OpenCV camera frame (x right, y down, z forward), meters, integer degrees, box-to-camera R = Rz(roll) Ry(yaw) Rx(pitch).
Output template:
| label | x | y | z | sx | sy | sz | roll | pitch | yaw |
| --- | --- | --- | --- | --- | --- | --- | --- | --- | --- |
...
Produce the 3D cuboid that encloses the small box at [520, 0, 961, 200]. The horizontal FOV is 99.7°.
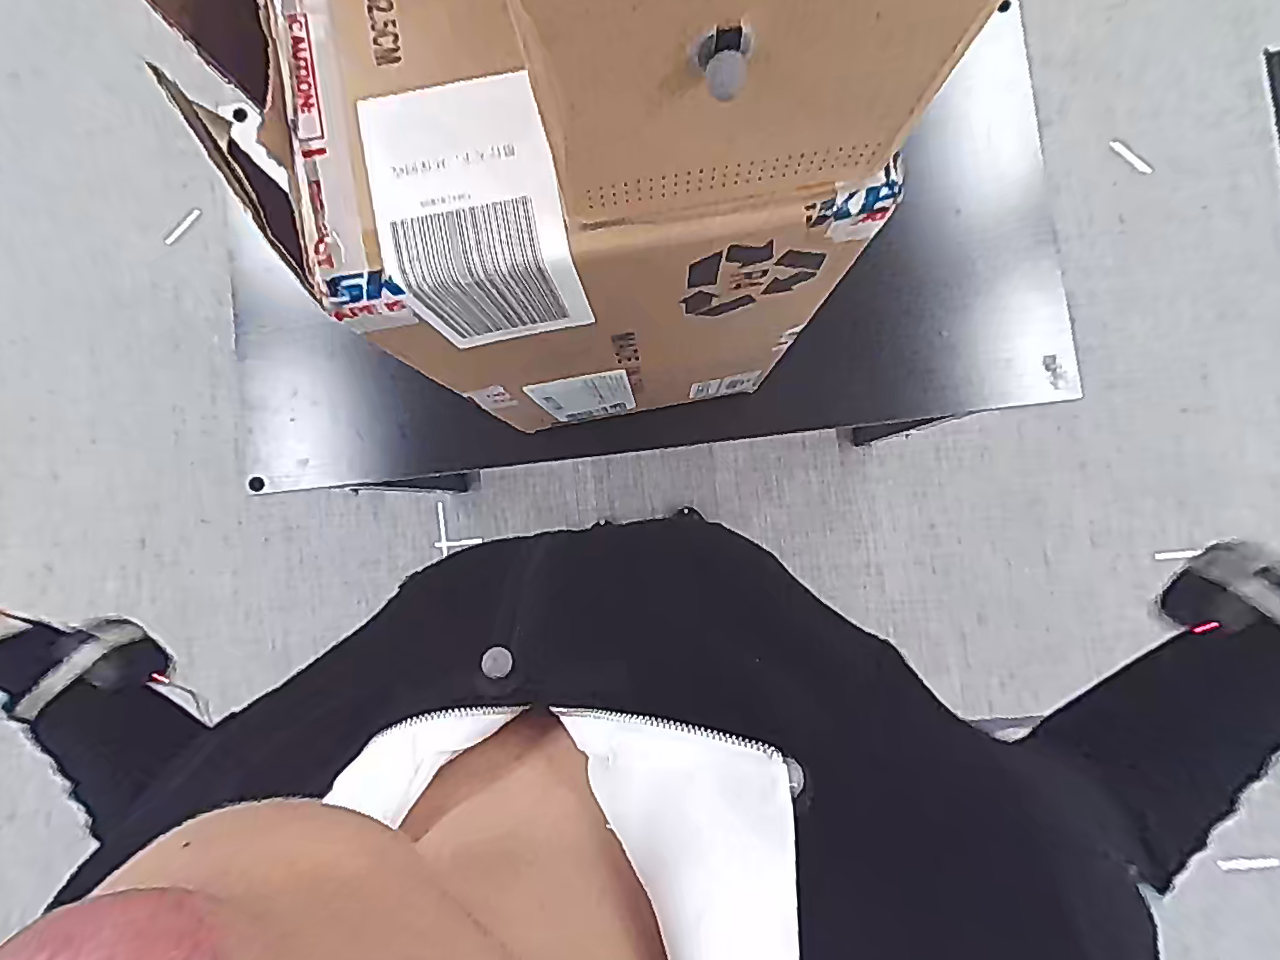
| label | x | y | z | sx | sy | sz | roll | pitch | yaw |
| --- | --- | --- | --- | --- | --- | --- | --- | --- | --- |
| small box | 0.033 | -0.243 | 0.220 | 0.179 | 0.176 | 0.168 | -10 | 89 | 1 |
